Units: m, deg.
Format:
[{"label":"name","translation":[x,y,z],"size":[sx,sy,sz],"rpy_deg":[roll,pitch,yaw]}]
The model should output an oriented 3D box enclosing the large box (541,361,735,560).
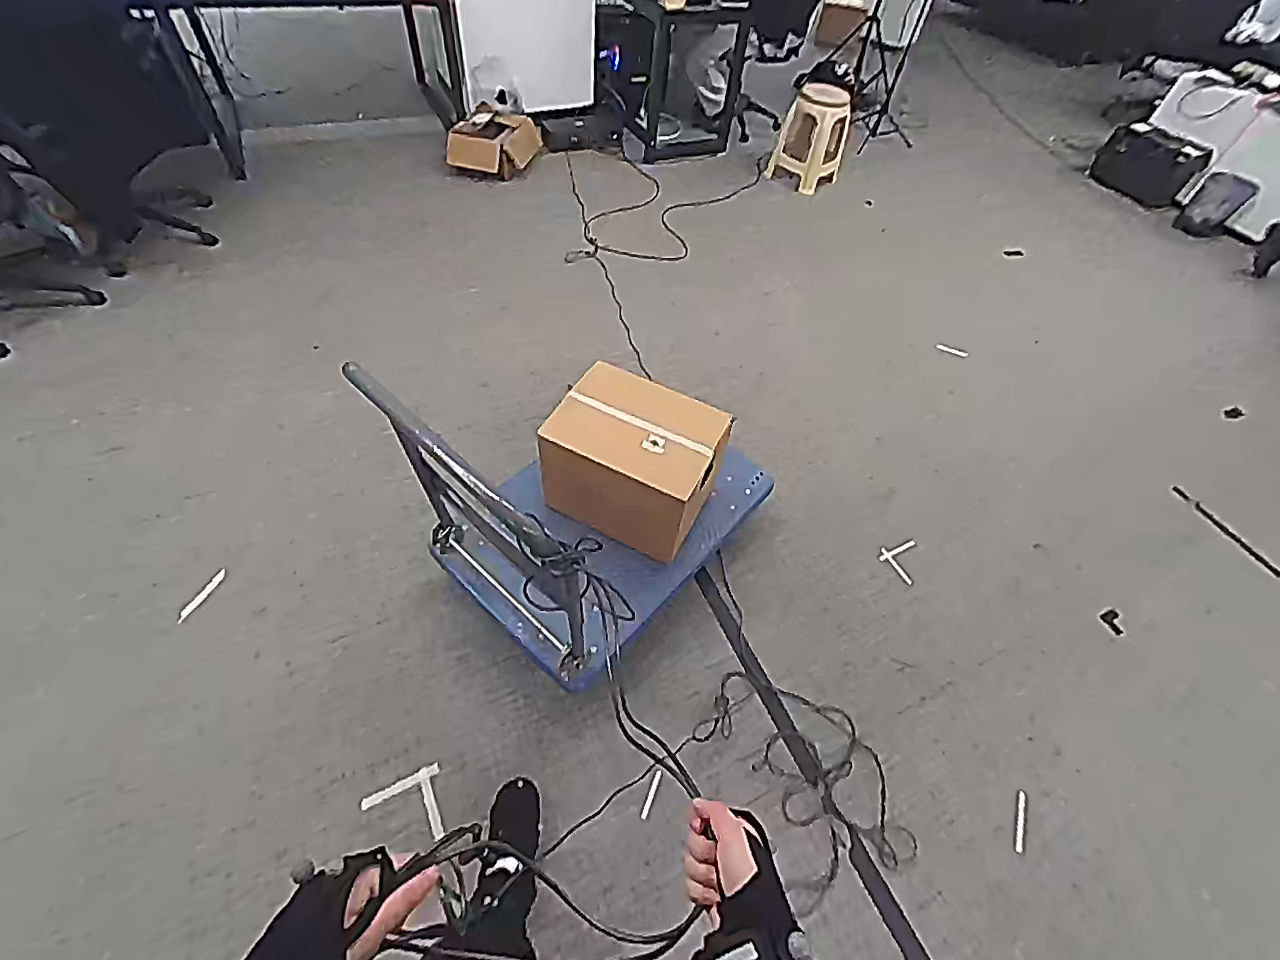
[{"label":"large box","translation":[-0.013,-0.051,1.455],"size":[0.408,0.320,0.320],"rpy_deg":[25,56,11]}]
